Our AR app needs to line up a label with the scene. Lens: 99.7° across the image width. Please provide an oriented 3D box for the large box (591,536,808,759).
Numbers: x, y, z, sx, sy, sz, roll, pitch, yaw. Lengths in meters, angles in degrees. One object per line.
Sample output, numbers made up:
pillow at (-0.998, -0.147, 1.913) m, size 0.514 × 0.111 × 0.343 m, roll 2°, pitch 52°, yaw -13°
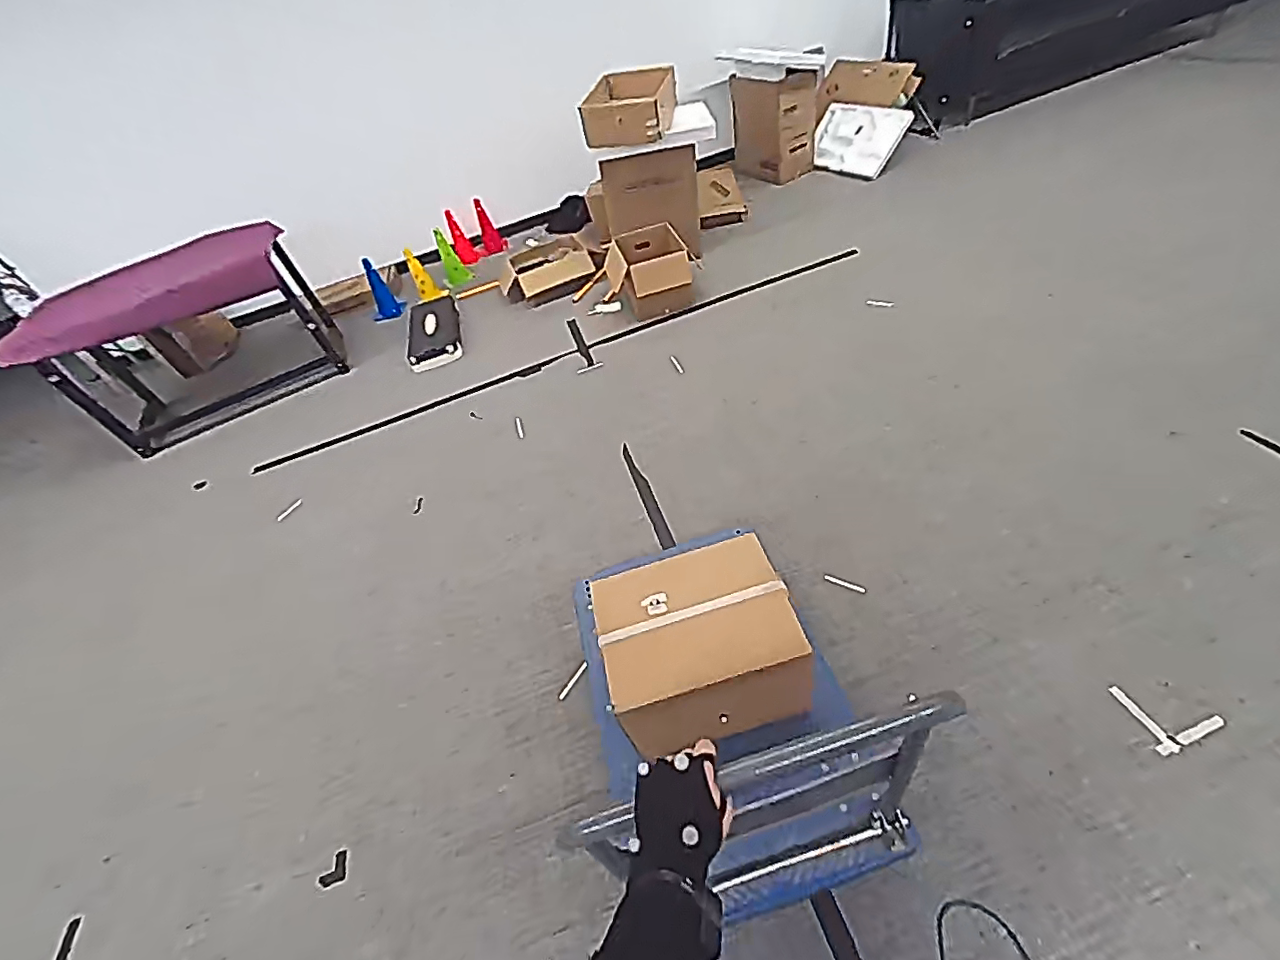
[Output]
large box at (0.140, 0.394, 1.263) m, size 0.408 × 0.320 × 0.320 m, roll -18°, pitch 44°, yaw 0°
